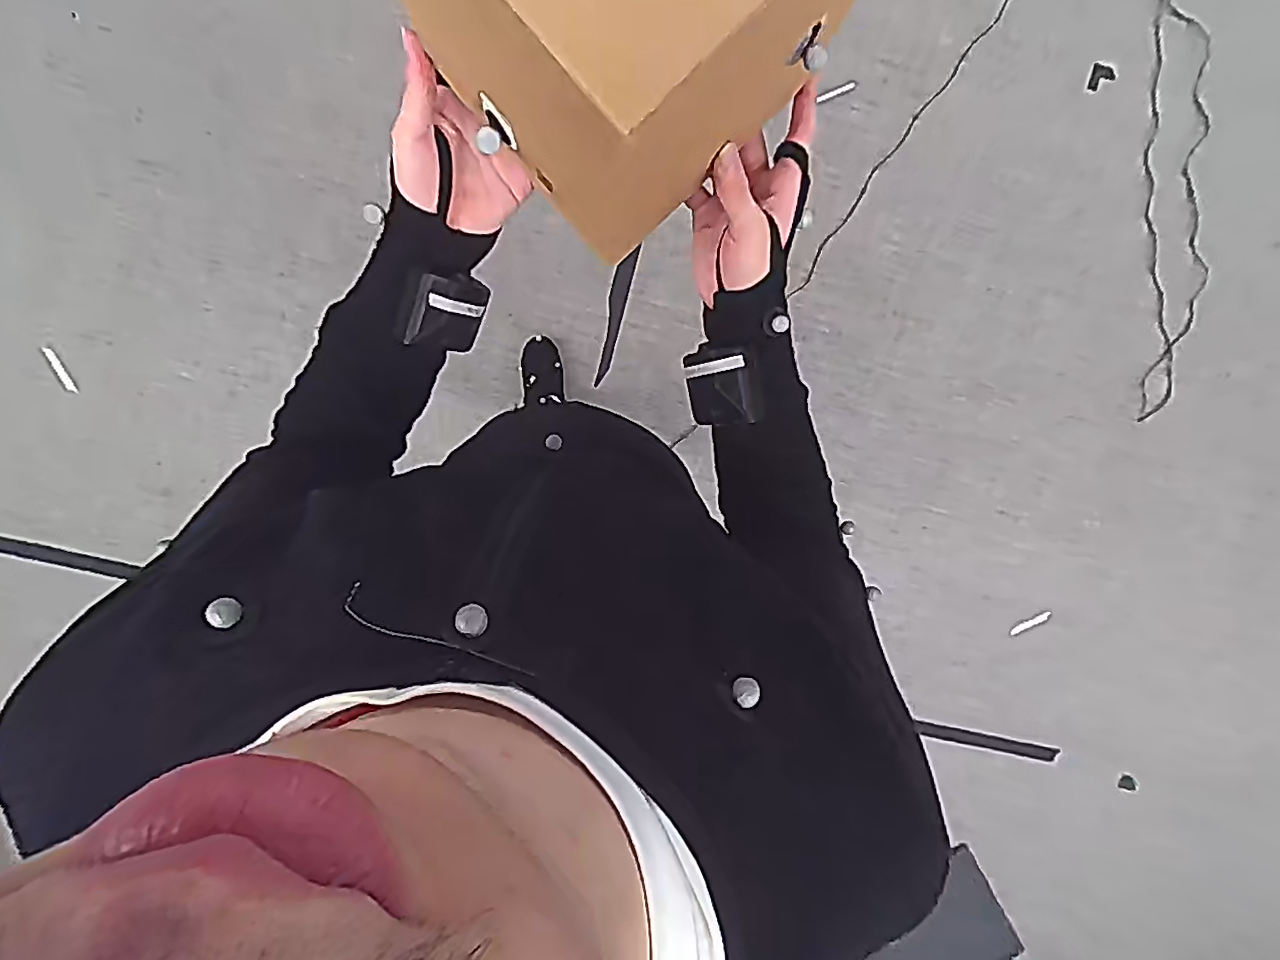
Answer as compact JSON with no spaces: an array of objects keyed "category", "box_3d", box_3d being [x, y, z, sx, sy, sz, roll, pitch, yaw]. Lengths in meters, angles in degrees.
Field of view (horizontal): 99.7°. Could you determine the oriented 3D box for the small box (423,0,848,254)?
[{"category":"small box","box_3d":[-0.004,-0.257,0.280,0.179,0.176,0.168,-43,97,0]}]
